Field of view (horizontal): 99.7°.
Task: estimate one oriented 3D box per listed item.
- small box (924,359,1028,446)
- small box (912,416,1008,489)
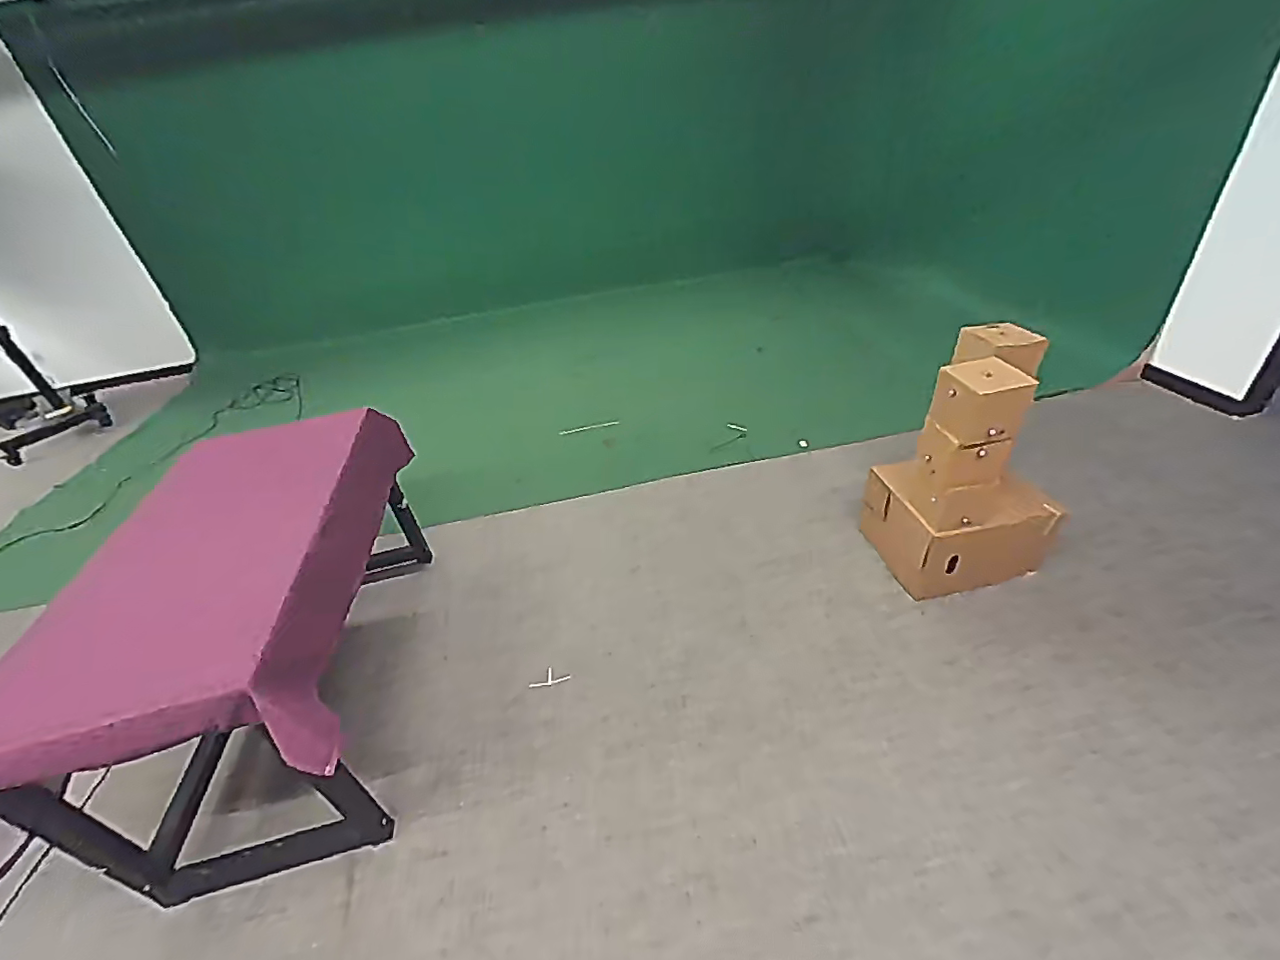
[{"bbox_3d":[0.937,-0.219,1.529,0.168,0.176,0.179,-12,37,-3],"label":"small box"},{"bbox_3d":[0.953,-0.092,1.630,0.179,0.176,0.168,-9,36,-1],"label":"small box"}]
